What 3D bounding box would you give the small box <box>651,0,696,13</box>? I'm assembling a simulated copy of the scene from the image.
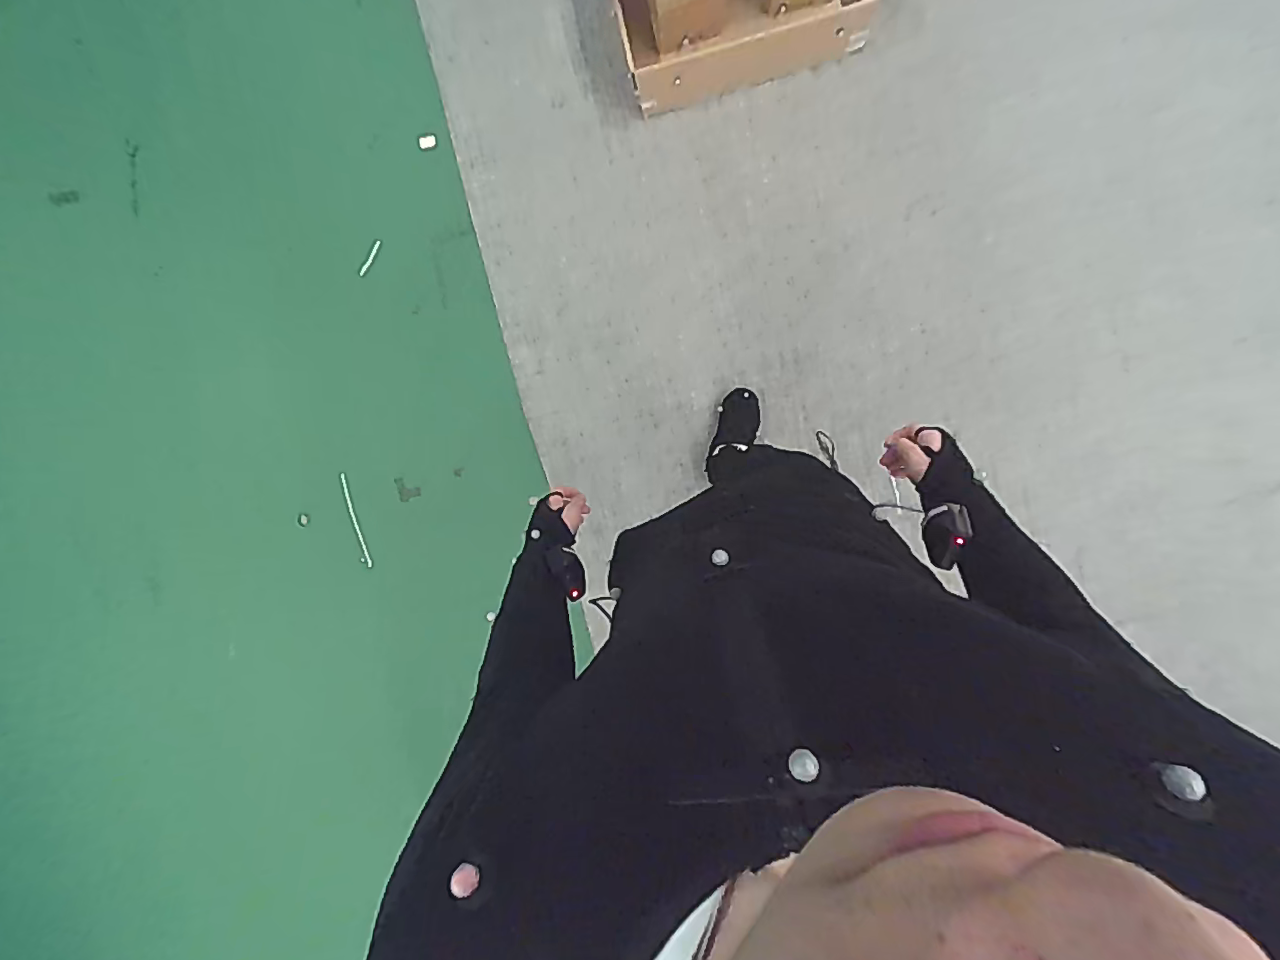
[{"bbox_3d":[0.081,-1.185,1.173,0.168,0.176,0.179,-15,95,8],"label":"small box"}]
